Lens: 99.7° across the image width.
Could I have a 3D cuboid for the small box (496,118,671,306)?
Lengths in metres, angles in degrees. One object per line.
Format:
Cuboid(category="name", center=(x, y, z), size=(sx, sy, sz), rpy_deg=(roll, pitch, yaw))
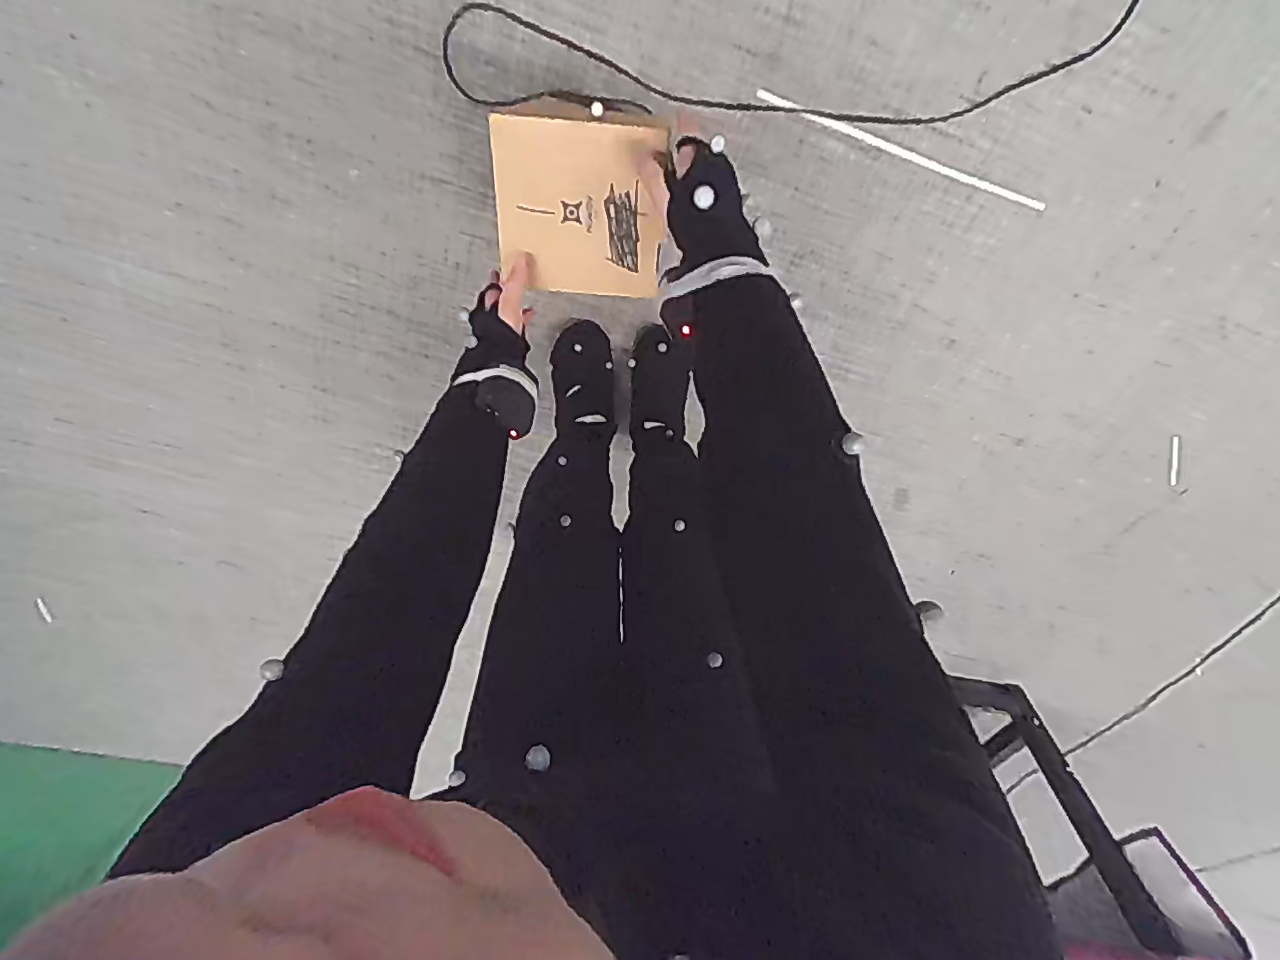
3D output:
Cuboid(category="small box", center=(-0.059, -0.321, 0.639), size=(0.179, 0.176, 0.168), rpy_deg=(5, 127, 0))
